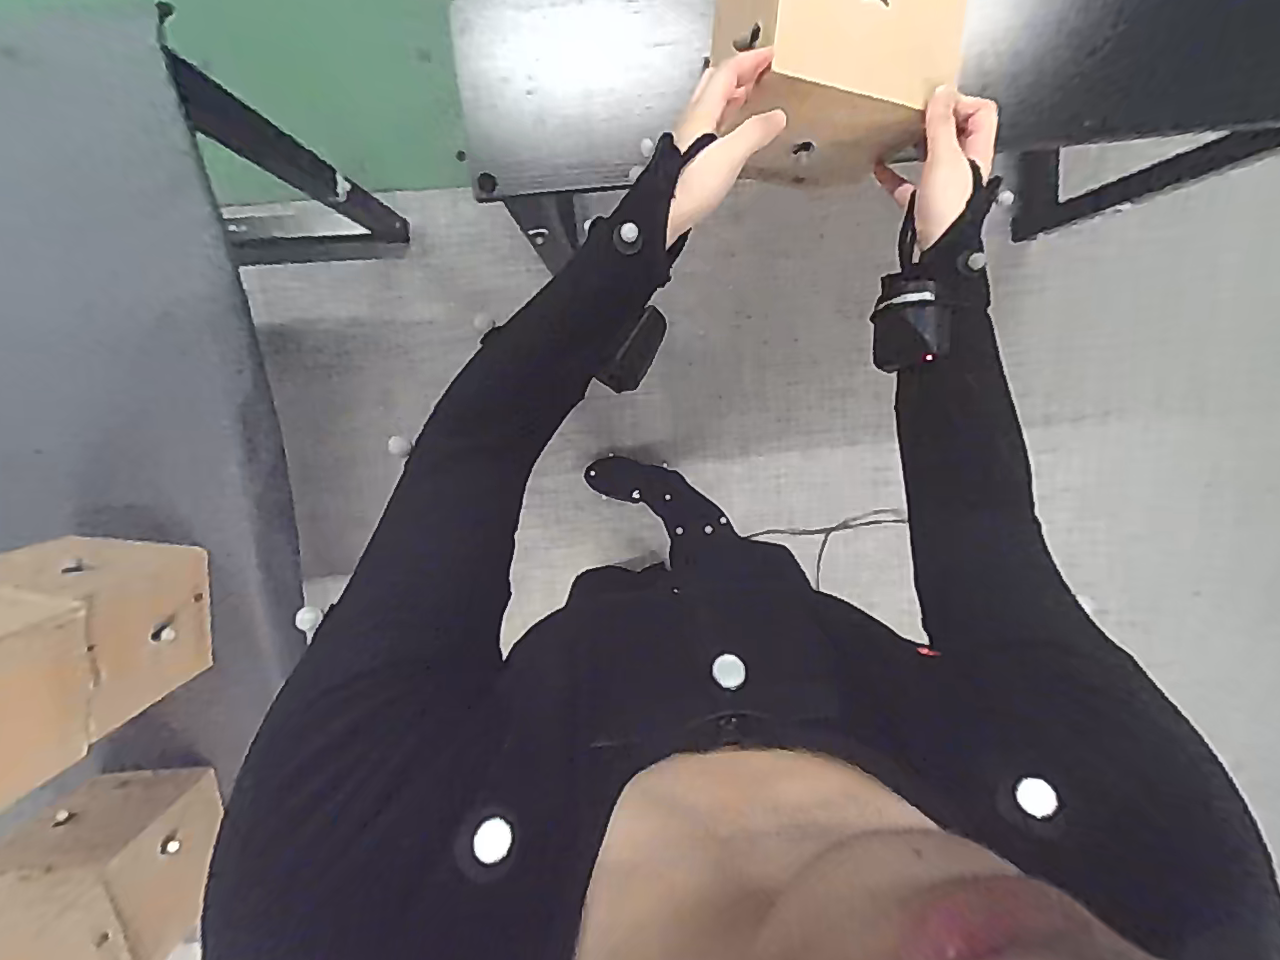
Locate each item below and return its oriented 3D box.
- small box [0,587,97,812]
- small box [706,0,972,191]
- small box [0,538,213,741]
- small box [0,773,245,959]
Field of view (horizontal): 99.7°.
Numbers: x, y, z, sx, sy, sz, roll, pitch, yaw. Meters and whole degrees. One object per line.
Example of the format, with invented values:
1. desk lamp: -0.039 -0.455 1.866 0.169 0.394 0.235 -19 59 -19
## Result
1. small box: -0.628 0.198 0.466 0.168 0.176 0.179 11 101 -1
2. small box: 0.167 -0.392 0.490 0.168 0.176 0.179 4 95 -13
3. small box: -0.637 0.172 0.628 0.179 0.176 0.168 5 101 -1
4. small box: -0.653 0.499 0.687 0.168 0.176 0.179 -5 101 2
